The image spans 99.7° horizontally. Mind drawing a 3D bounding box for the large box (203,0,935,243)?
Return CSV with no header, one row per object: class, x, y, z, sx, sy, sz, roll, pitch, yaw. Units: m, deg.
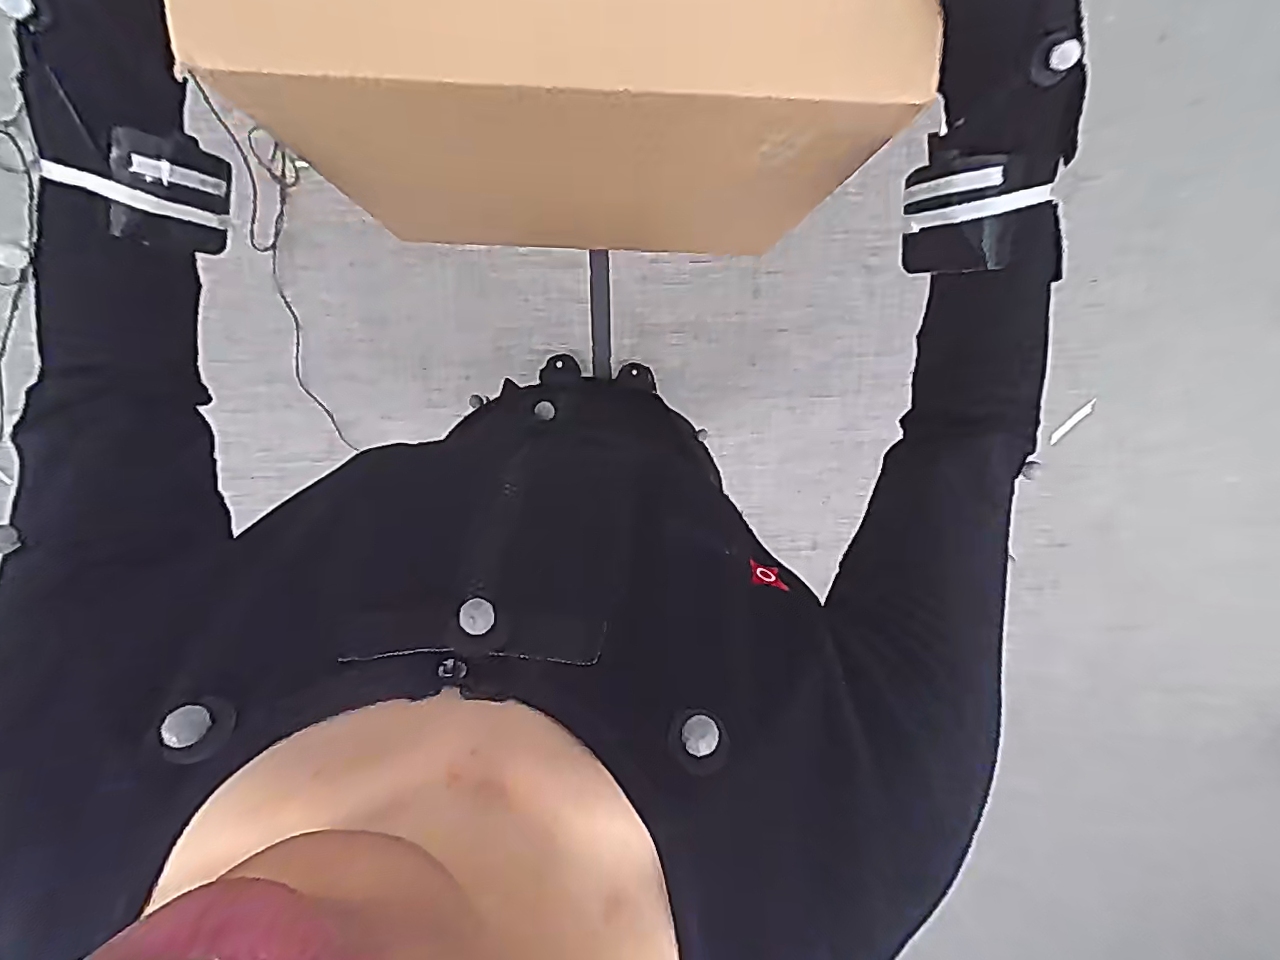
large box,-0.043,-0.391,0.425,0.408,0.320,0.320,-1,99,-5
